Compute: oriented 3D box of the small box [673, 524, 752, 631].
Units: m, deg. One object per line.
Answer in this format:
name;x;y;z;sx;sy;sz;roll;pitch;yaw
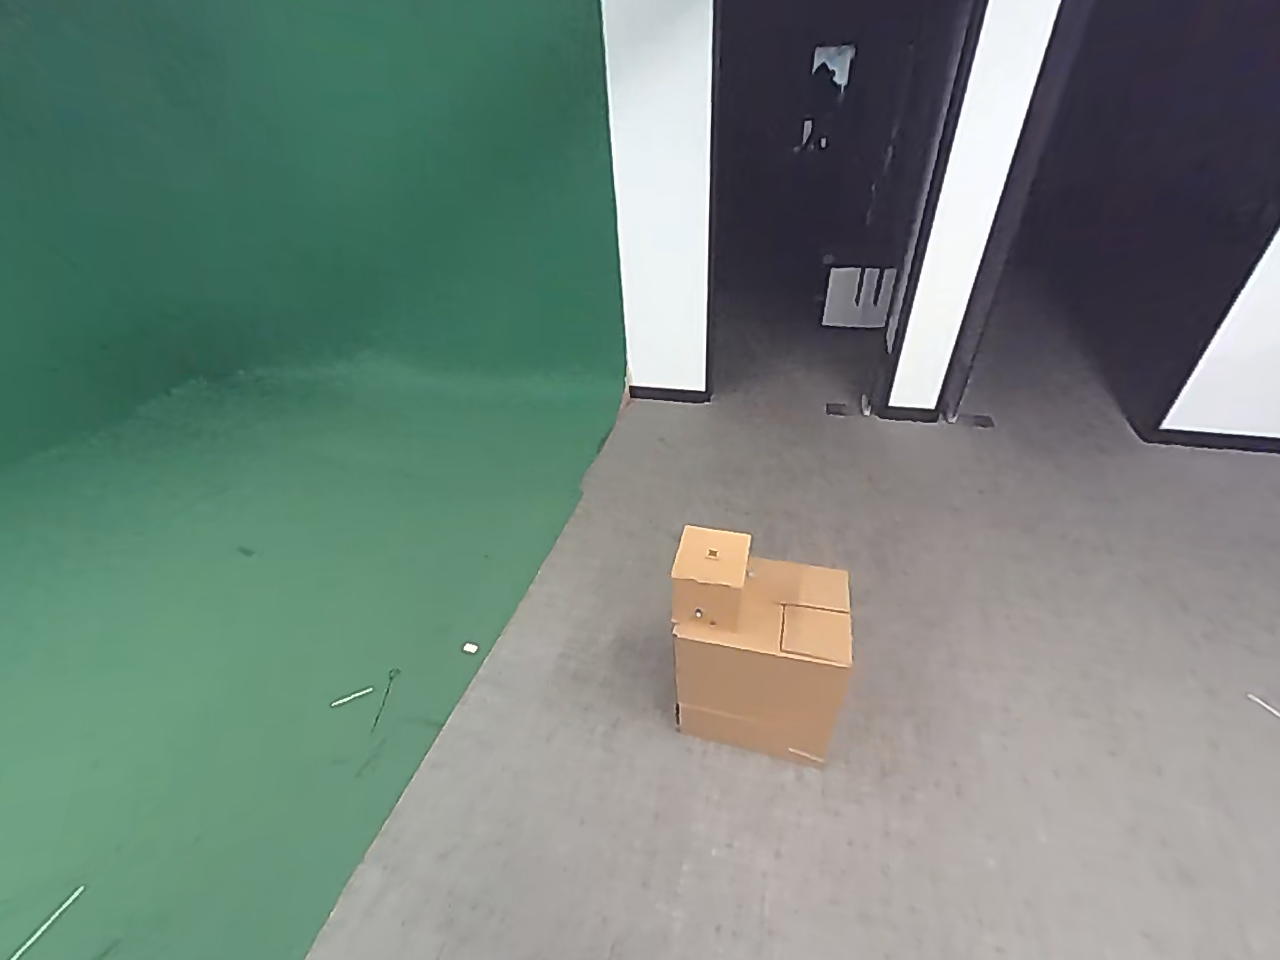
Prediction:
small box;0.176;0.235;1.317;0.168;0.176;0.179;7;41;13
